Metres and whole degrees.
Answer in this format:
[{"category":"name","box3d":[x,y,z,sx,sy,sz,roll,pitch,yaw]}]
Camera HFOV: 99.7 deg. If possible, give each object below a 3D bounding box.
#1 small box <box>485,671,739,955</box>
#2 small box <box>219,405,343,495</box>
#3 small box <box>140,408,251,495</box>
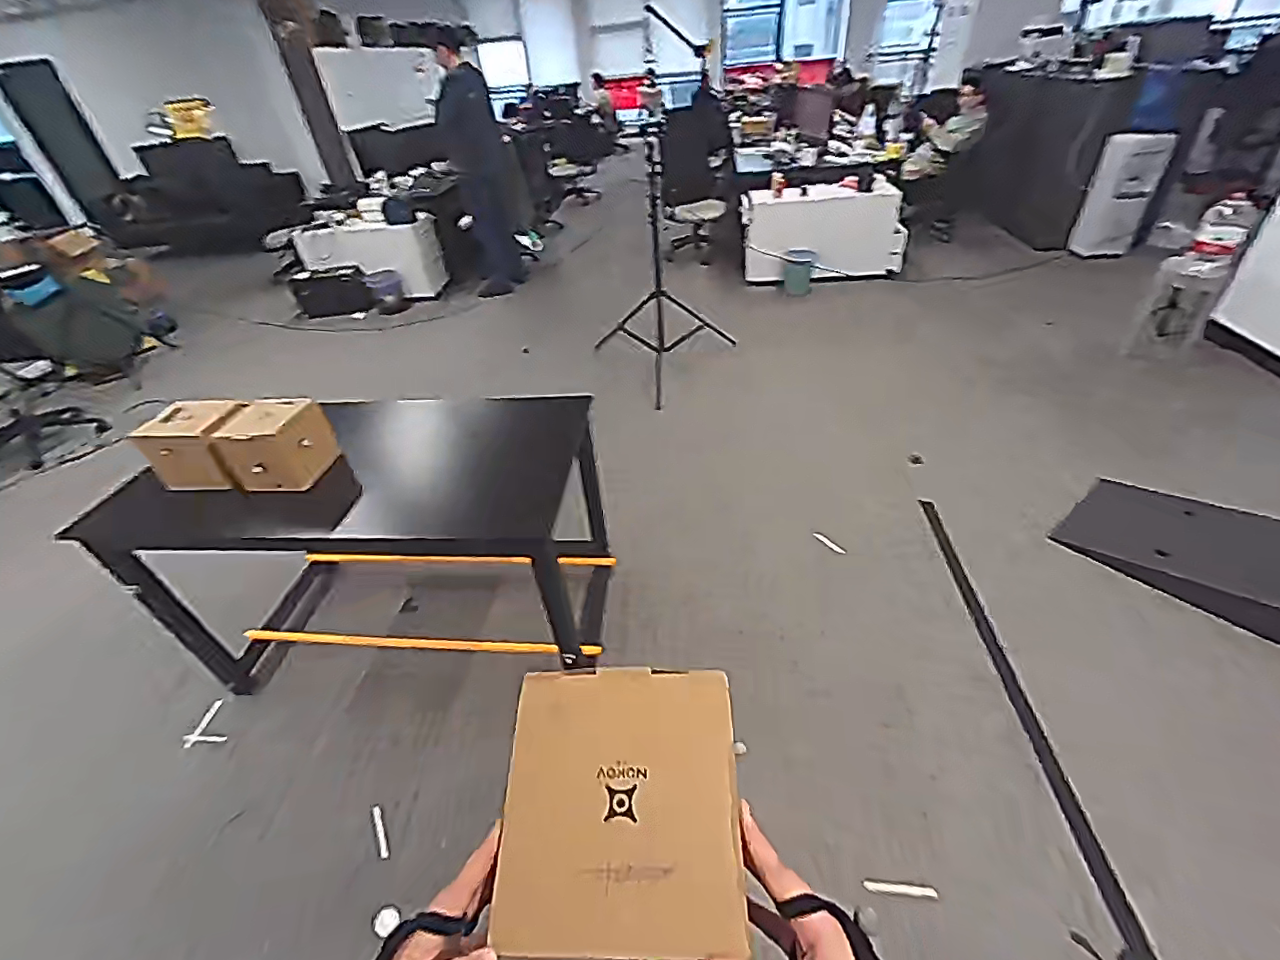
[{"category":"small box","box3d":[-0.012,0.275,0.453,0.168,0.176,0.179,-3,53,4]},{"category":"small box","box3d":[-0.902,-0.074,1.382,0.168,0.176,0.179,0,39,8]},{"category":"small box","box3d":[-1.116,-0.073,1.408,0.179,0.176,0.168,-1,38,5]}]
